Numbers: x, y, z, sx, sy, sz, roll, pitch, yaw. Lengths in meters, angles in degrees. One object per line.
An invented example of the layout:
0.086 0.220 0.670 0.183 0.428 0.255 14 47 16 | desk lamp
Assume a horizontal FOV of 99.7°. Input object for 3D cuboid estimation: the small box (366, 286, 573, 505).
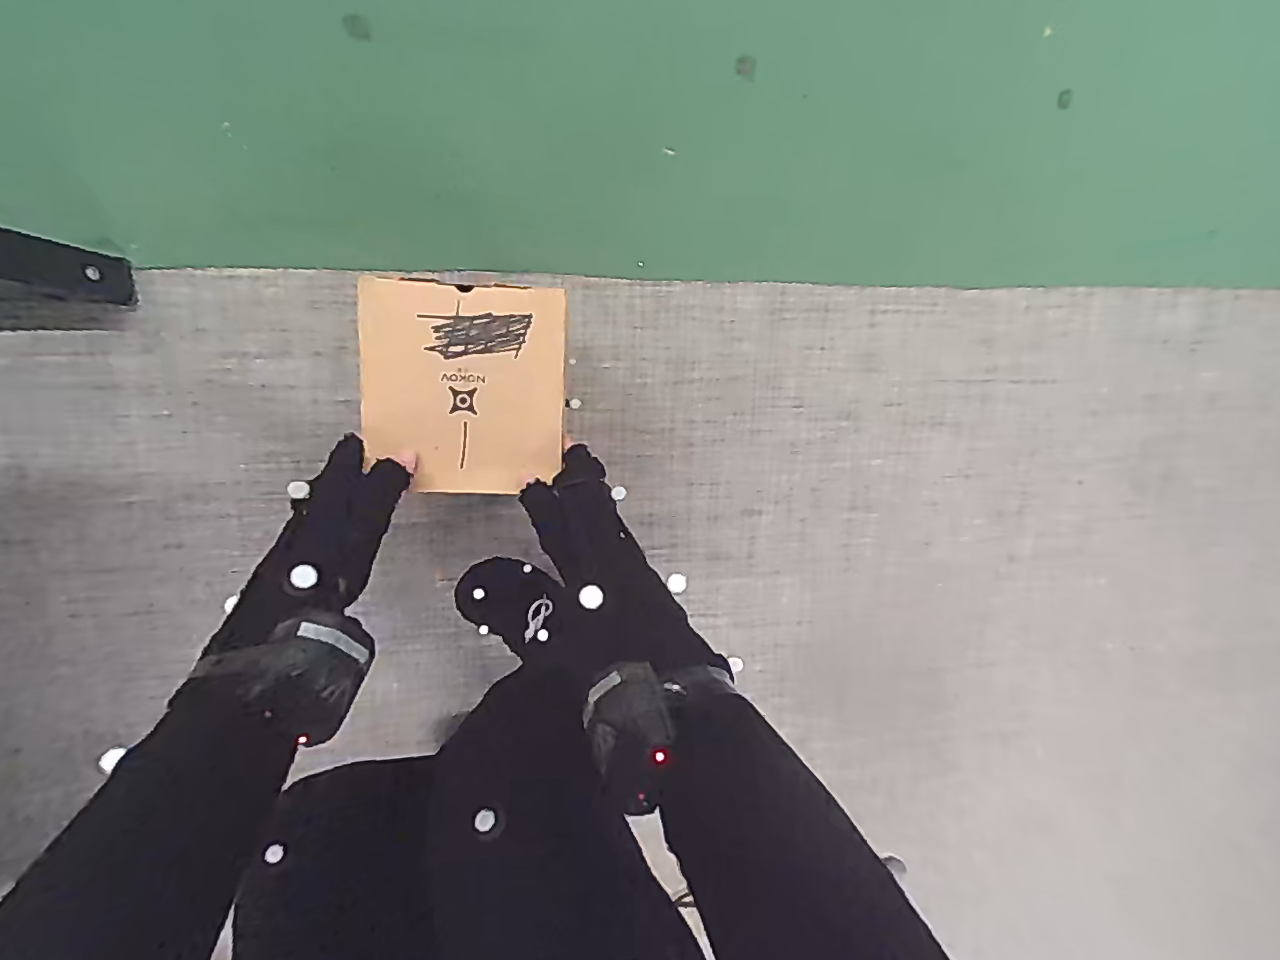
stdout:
-0.152 -0.076 0.530 0.168 0.176 0.179 2 97 -6 | small box
